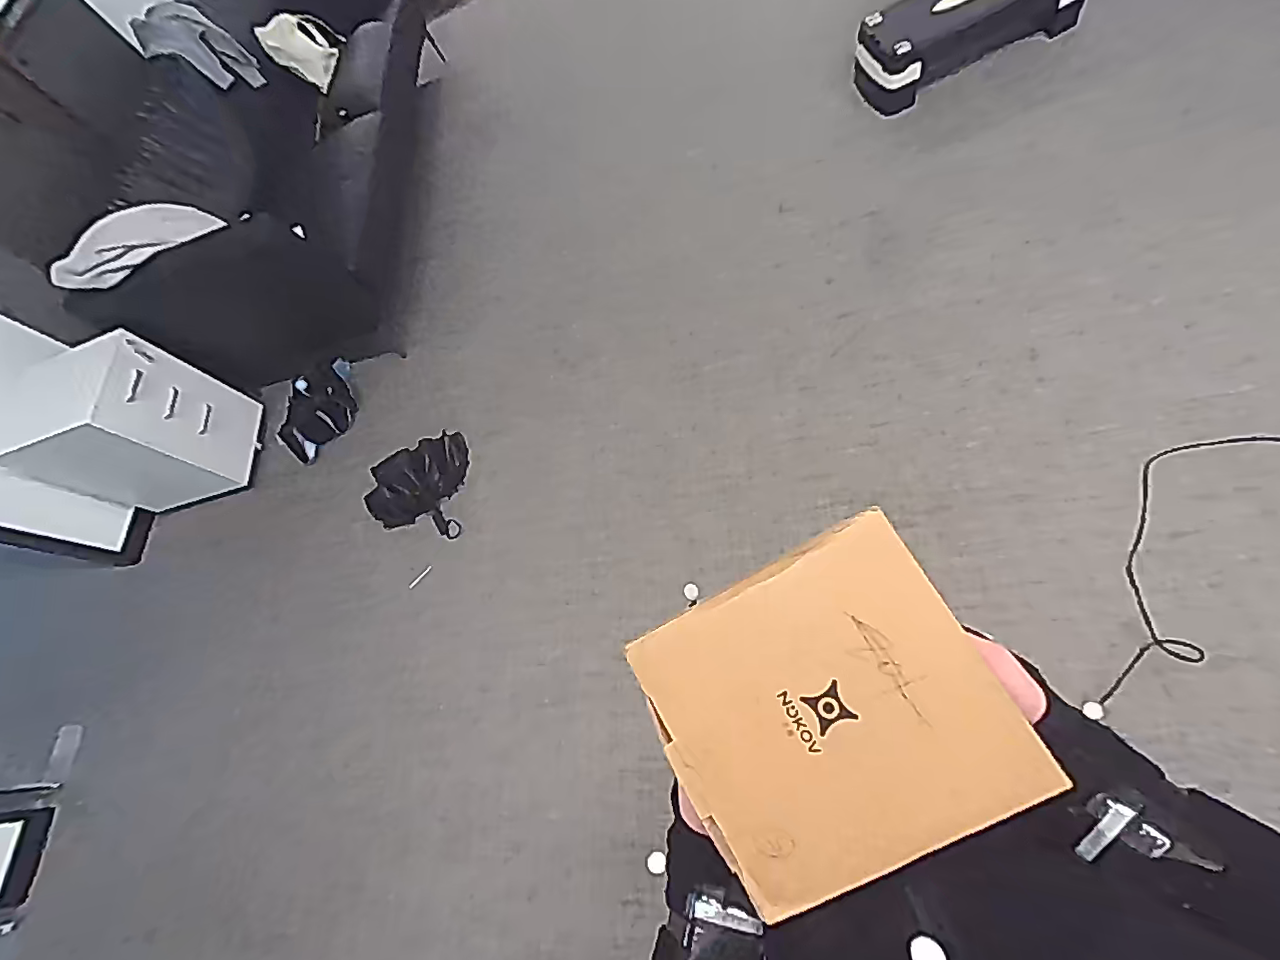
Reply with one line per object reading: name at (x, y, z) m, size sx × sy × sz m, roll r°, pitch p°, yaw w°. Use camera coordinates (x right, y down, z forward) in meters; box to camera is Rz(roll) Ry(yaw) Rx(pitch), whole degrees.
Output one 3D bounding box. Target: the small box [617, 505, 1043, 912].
small box at (0.113, 0.136, 0.379) m, size 0.179 × 0.176 × 0.168 m, roll -32°, pitch 78°, yaw 7°
